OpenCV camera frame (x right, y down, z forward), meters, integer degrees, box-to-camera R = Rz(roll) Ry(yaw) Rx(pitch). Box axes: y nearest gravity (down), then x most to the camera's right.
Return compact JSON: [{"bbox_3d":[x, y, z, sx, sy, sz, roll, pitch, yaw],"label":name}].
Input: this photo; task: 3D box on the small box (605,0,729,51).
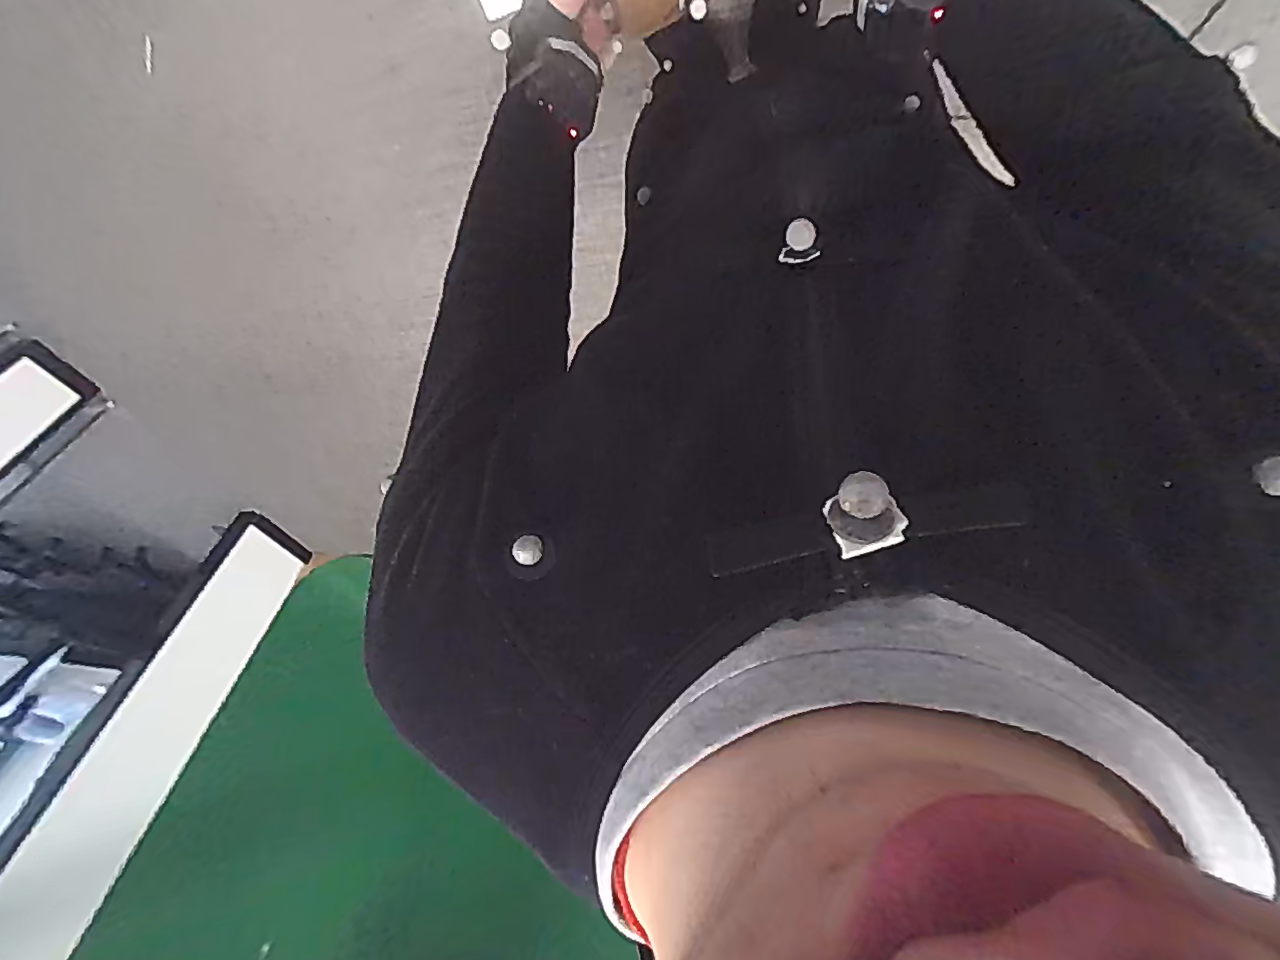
[{"bbox_3d":[0.020,-0.508,0.438,0.168,0.176,0.179,-23,109,12],"label":"small box"}]
